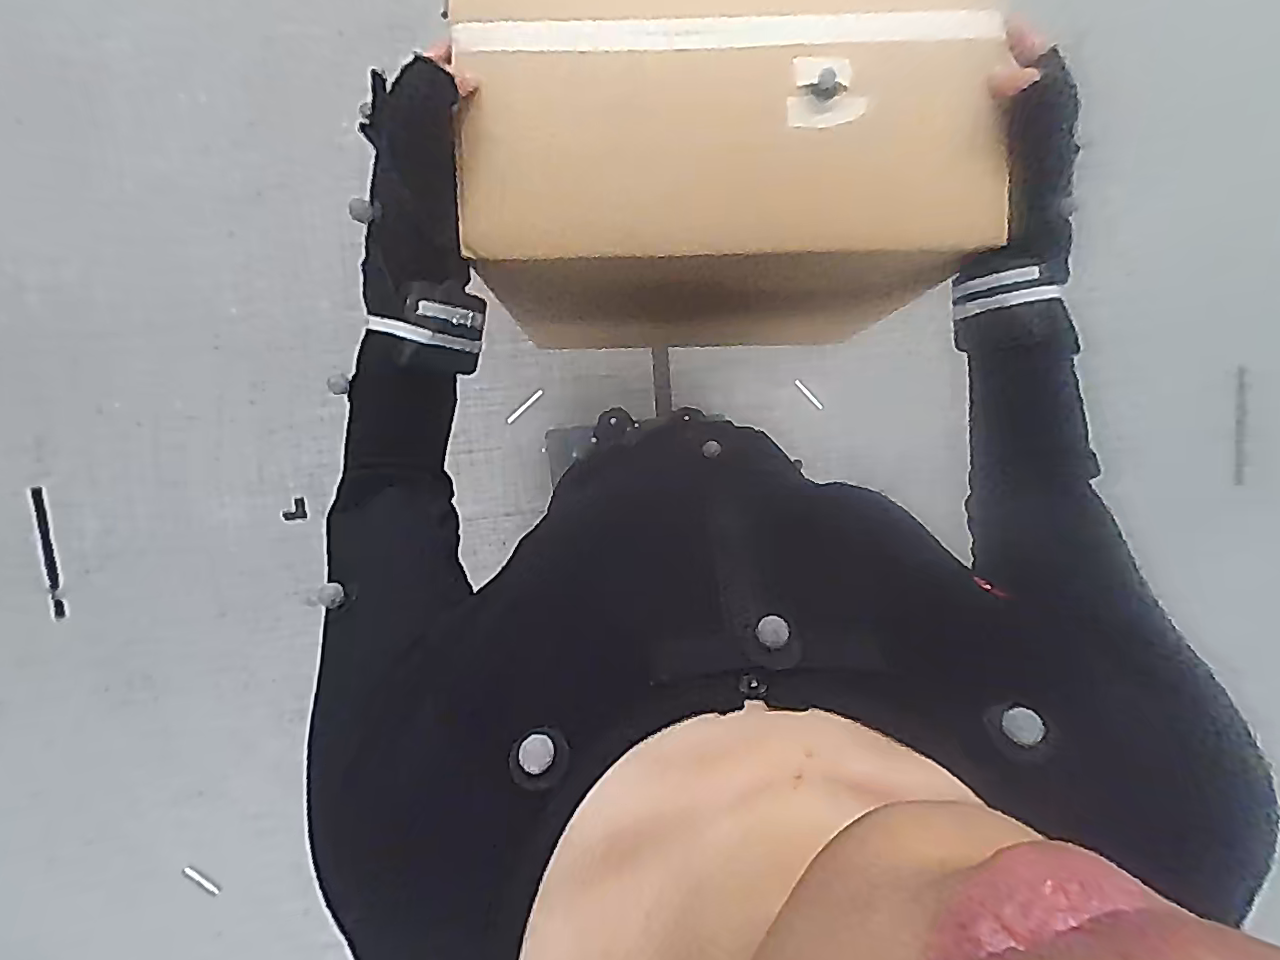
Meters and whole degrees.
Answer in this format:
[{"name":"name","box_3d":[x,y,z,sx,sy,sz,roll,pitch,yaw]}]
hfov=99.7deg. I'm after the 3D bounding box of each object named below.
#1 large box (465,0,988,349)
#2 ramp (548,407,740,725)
[{"name":"large box","box_3d":[0.062,-0.330,0.563,0.408,0.320,0.320,-2,91,-1]},{"name":"ramp","box_3d":[0.041,0.295,1.614,0.509,0.206,0.991,-8,98,-3]}]
